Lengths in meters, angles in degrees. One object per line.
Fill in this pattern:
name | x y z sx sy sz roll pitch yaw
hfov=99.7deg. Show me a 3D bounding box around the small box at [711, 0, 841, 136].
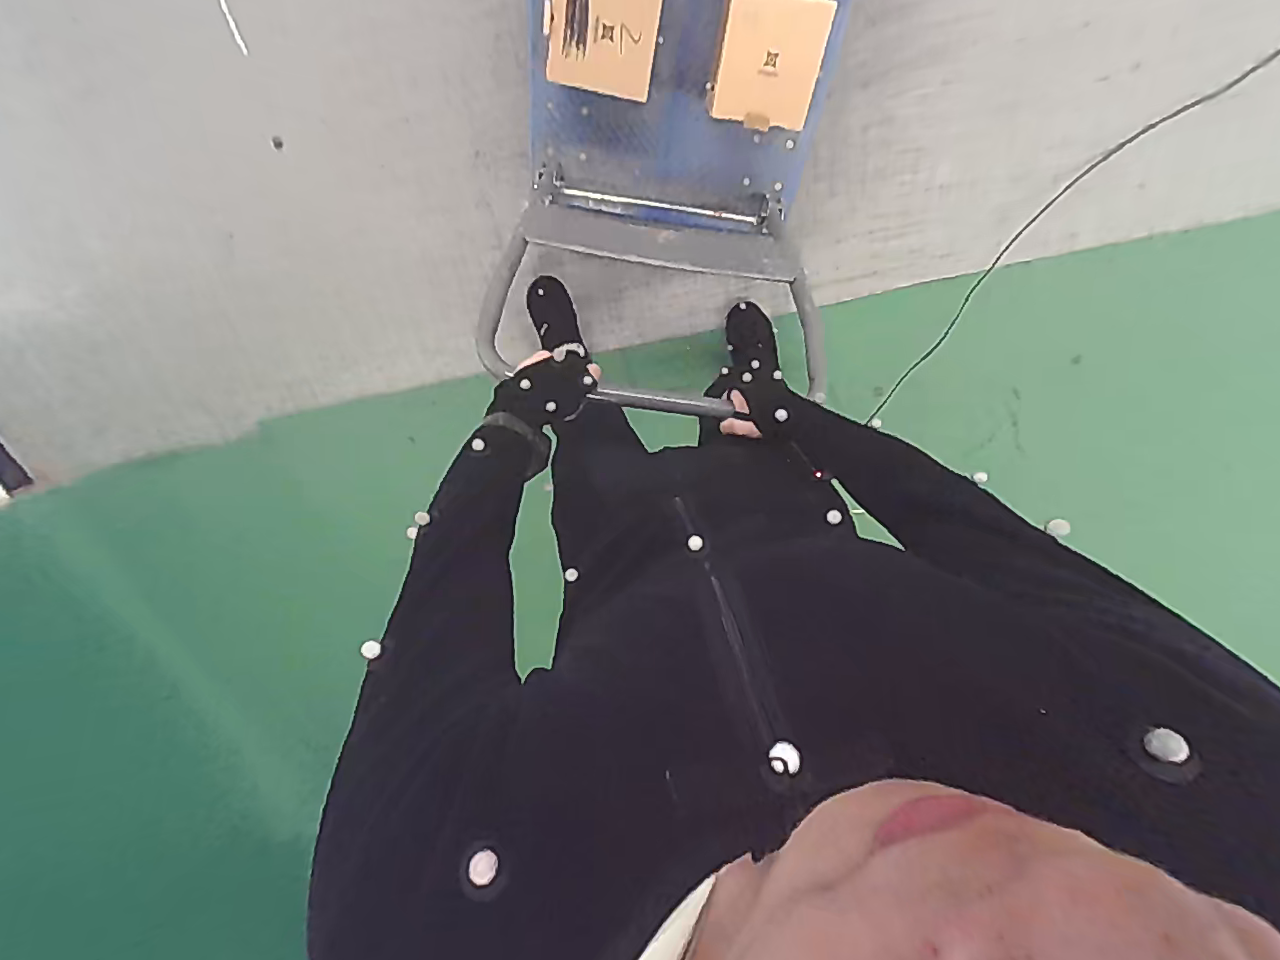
small box | 0.224 -0.733 0.948 0.168 0.176 0.179 7 133 -3
